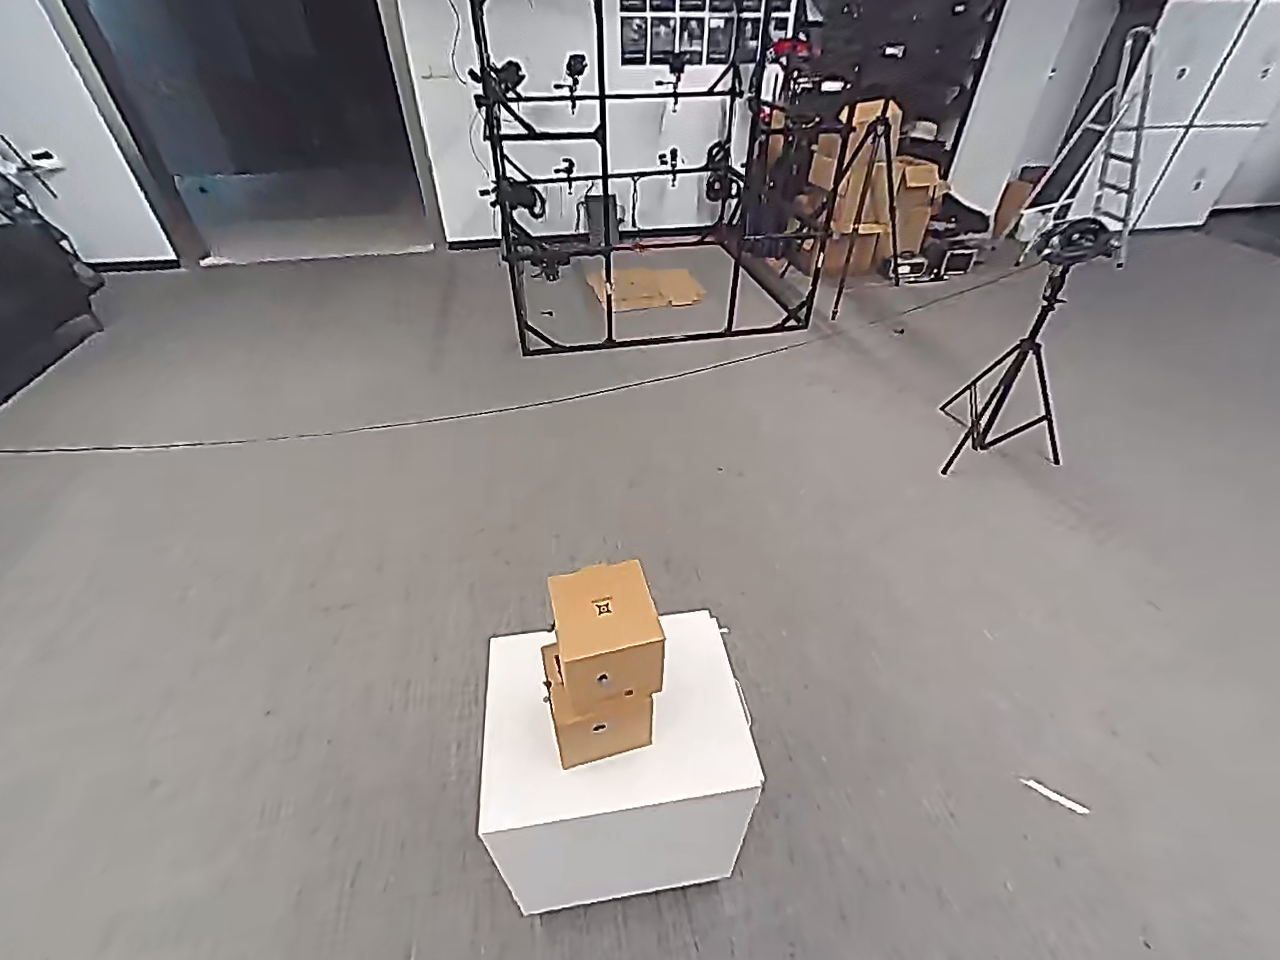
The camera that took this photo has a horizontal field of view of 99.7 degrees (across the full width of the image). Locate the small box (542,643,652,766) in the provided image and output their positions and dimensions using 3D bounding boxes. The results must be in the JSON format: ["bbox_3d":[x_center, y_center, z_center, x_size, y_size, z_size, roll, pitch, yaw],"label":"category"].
[{"bbox_3d":[-0.082,0.414,1.030,0.179,0.176,0.168,-9,41,-13],"label":"small box"}]

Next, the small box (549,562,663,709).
[{"bbox_3d":[-0.060,0.275,0.944,0.168,0.176,0.179,-9,40,-12],"label":"small box"}]
